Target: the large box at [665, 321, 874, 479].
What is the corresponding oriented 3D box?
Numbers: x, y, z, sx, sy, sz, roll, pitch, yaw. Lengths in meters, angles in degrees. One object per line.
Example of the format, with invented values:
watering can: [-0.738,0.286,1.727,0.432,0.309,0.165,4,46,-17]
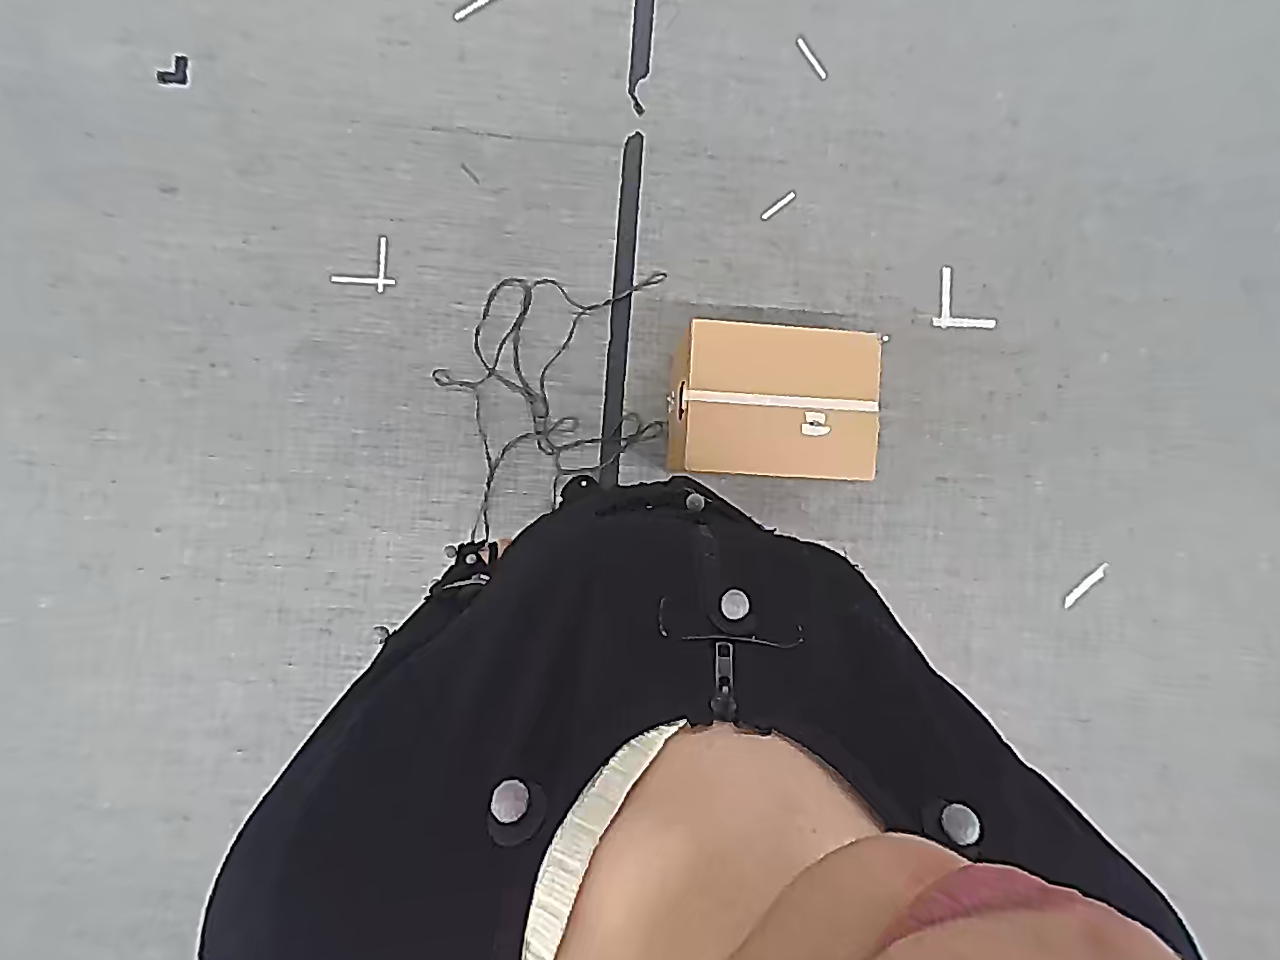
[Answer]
large box: [0.277,-0.164,1.268,0.408,0.320,0.320,3,90,-5]
